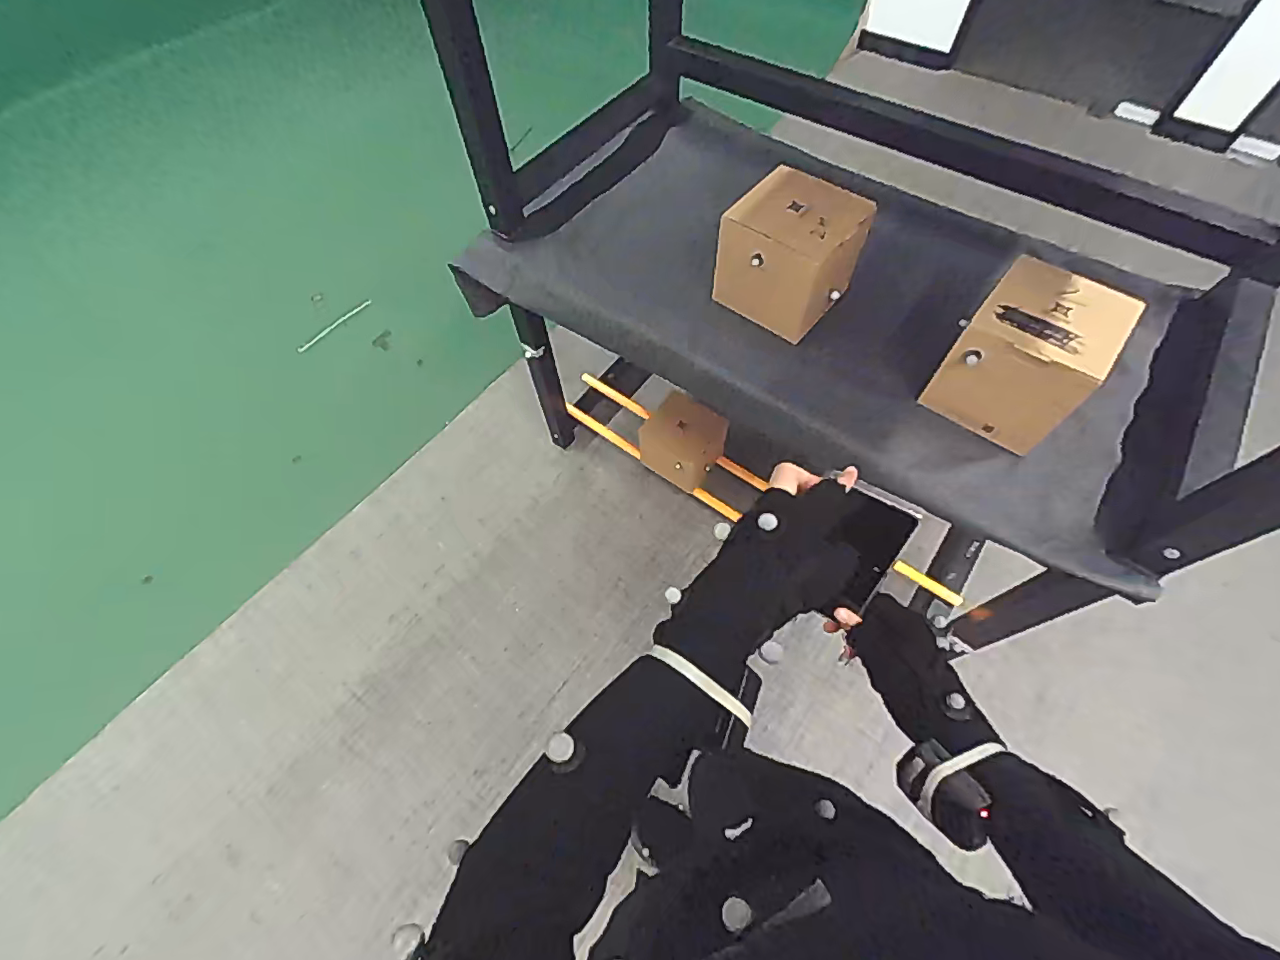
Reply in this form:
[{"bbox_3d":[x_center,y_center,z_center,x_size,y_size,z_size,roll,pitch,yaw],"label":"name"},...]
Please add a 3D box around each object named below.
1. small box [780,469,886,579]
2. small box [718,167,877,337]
[{"bbox_3d":[0.464,0.114,1.328,0.168,0.176,0.179,37,69,19],"label":"small box"},{"bbox_3d":[0.245,-0.369,0.890,0.179,0.176,0.168,36,68,19],"label":"small box"}]
